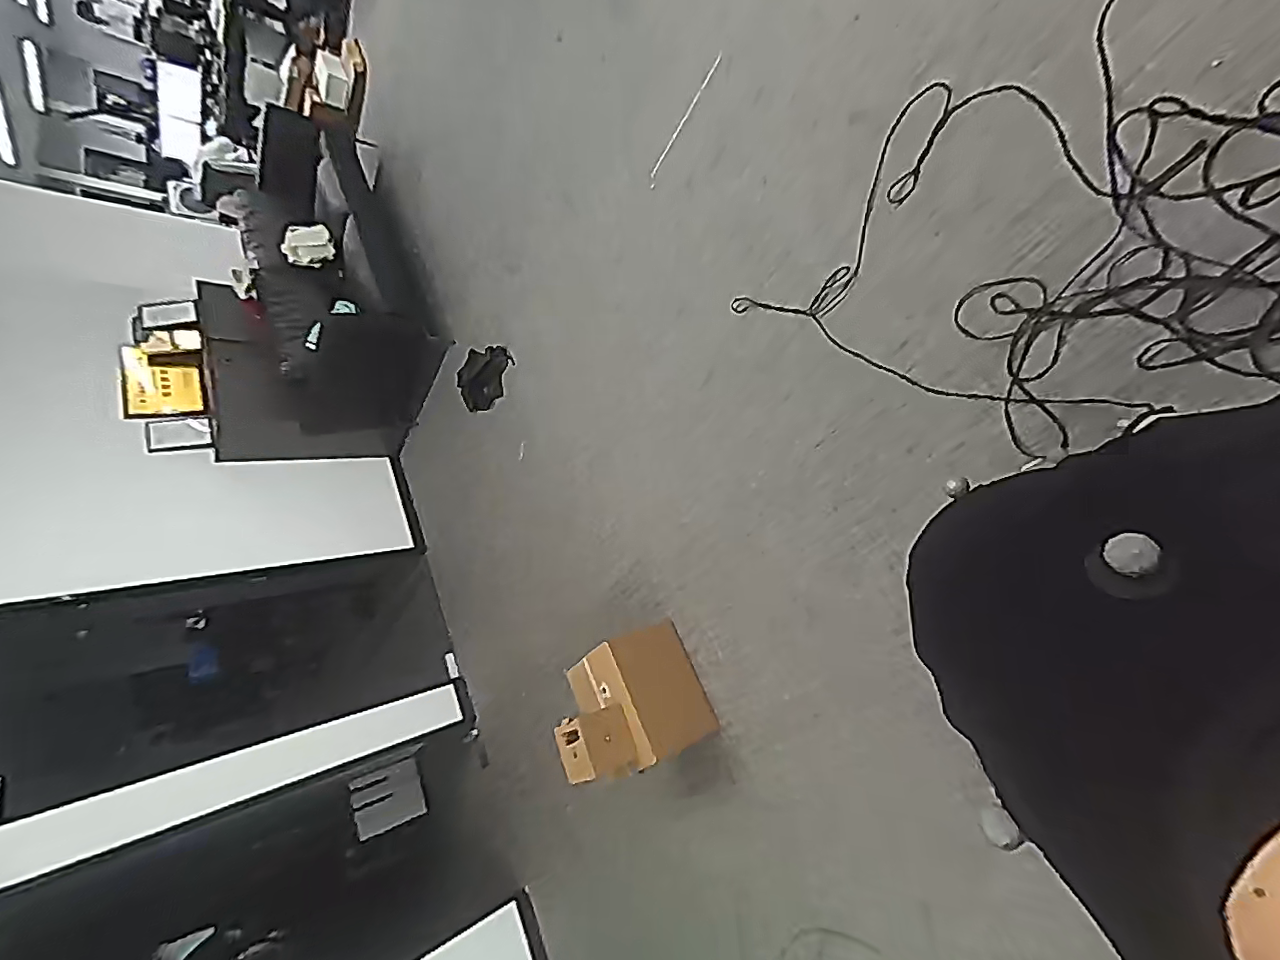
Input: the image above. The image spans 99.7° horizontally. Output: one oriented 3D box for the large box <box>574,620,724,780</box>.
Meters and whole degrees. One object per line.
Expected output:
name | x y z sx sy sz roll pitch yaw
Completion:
large box | 0.025 0.770 1.922 0.320 0.320 0.408 -47 58 39
